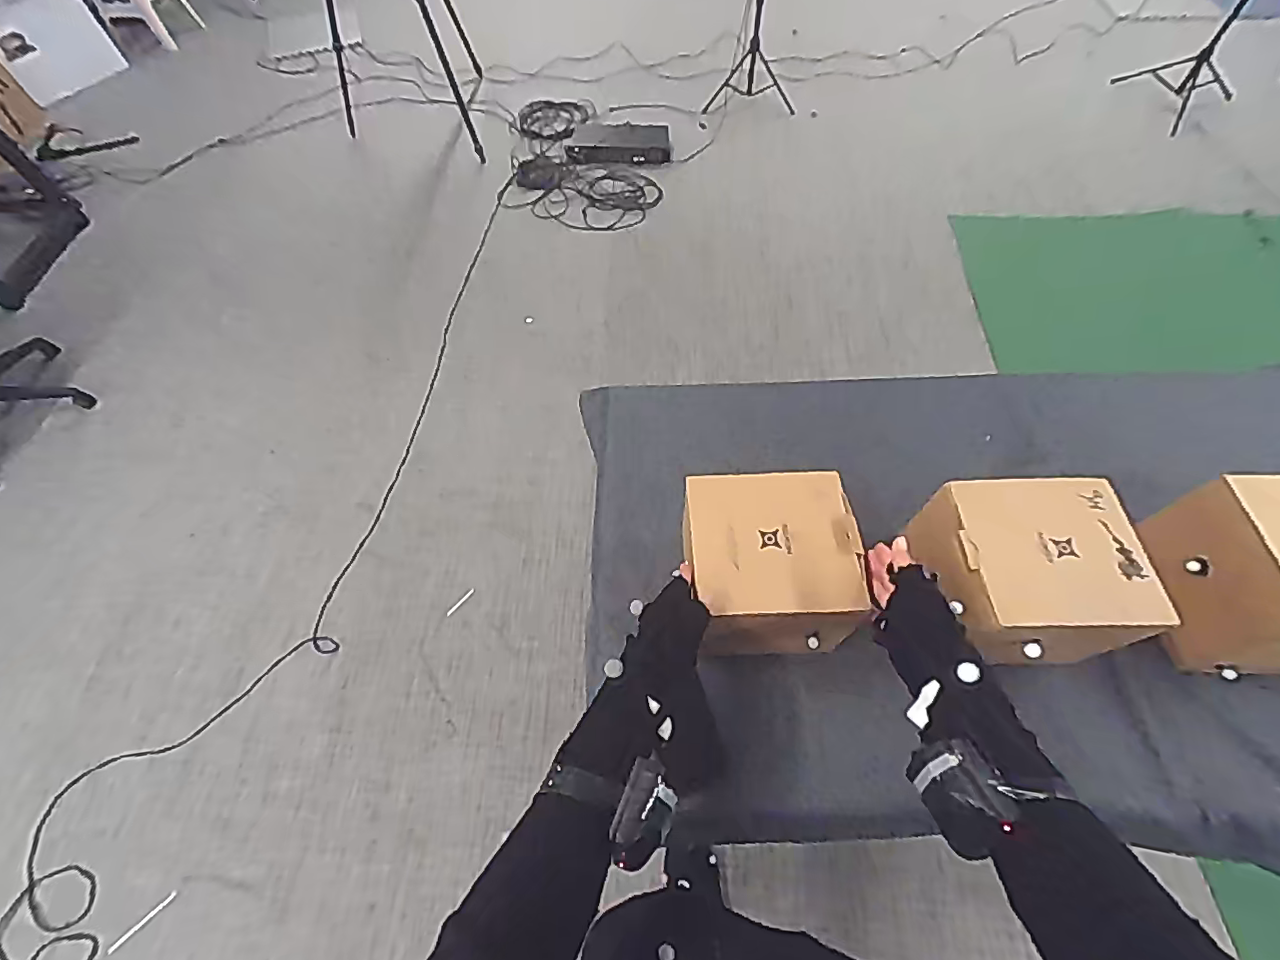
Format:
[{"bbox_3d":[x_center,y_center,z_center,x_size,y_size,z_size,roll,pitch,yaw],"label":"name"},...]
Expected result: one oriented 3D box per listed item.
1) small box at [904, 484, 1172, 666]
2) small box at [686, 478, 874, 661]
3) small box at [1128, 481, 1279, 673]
[{"bbox_3d":[0.433,0.118,0.635,0.179,0.176,0.168,-1,59,2],"label":"small box"},{"bbox_3d":[0.150,0.113,0.650,0.179,0.176,0.168,-3,58,1],"label":"small box"},{"bbox_3d":[0.719,0.118,0.622,0.168,0.176,0.179,1,58,3],"label":"small box"}]
